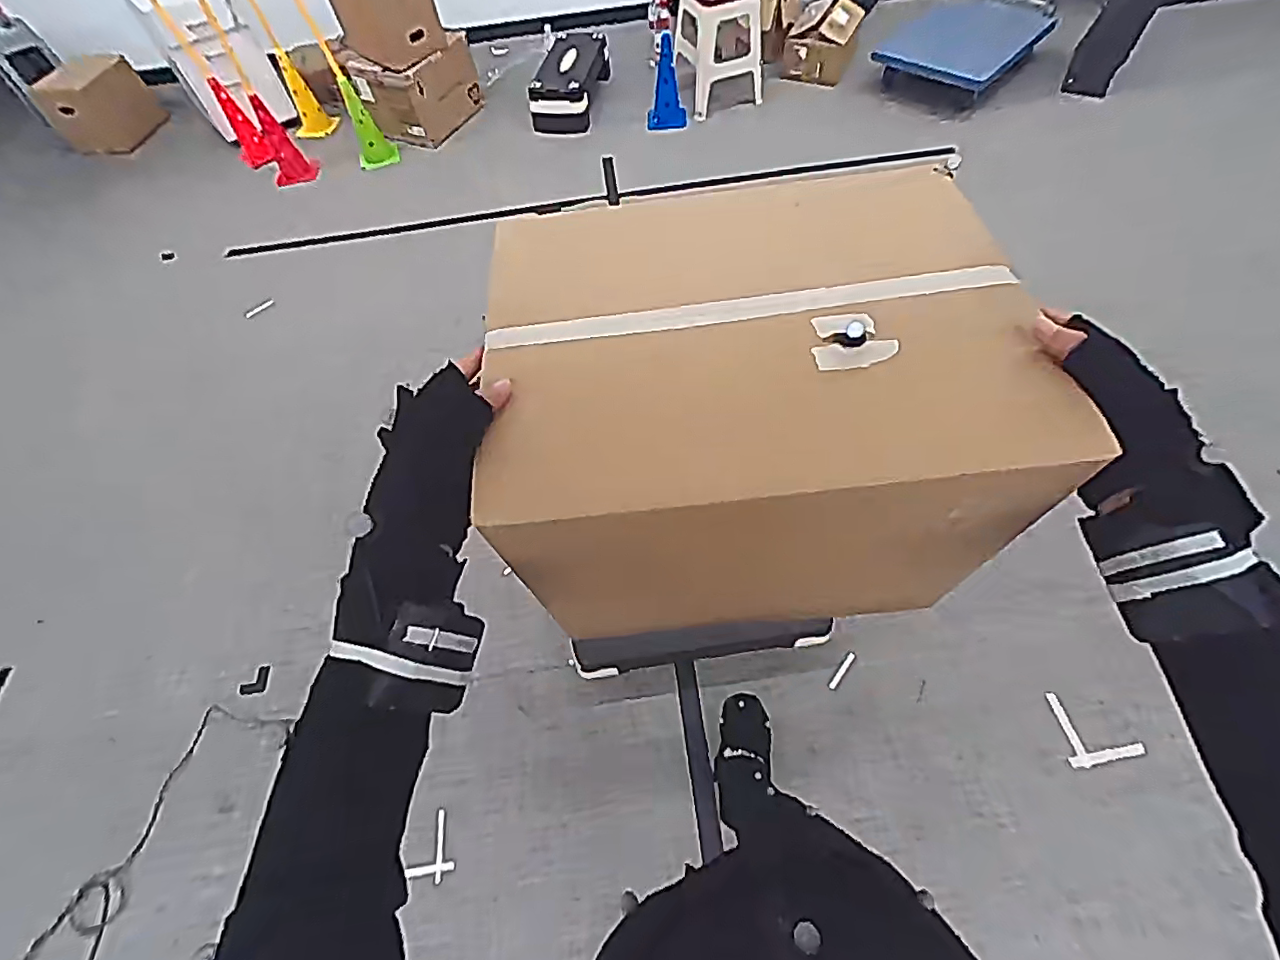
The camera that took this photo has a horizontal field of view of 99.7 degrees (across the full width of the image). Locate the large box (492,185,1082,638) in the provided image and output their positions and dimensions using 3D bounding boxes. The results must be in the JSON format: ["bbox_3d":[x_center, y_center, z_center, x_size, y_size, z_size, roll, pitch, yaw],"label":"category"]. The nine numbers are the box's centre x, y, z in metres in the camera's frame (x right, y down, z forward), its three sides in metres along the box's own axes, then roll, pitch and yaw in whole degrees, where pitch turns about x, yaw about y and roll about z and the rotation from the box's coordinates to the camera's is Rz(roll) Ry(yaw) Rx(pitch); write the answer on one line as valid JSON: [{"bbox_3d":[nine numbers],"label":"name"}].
[{"bbox_3d":[0.092,-0.046,0.560,0.408,0.320,0.320,-7,60,2],"label":"large box"}]
